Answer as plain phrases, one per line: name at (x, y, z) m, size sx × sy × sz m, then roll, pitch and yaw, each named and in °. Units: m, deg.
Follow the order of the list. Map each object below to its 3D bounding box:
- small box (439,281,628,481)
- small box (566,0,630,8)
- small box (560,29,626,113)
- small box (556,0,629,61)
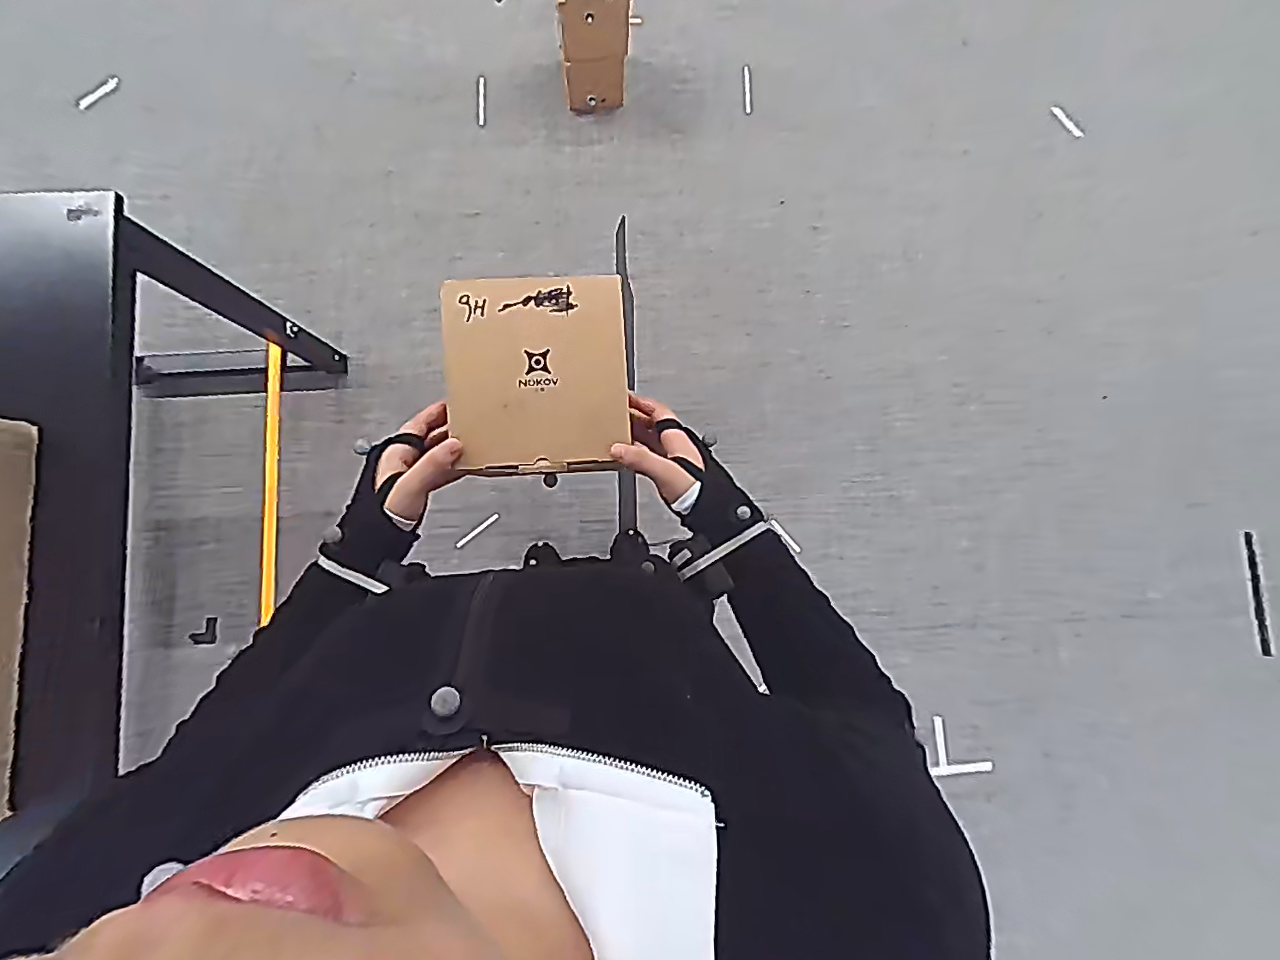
small box at (-0.100, -0.092, 0.568) m, size 0.168 × 0.176 × 0.179 m, roll -4°, pitch 90°, yaw -5°
small box at (-0.106, -1.223, 1.215) m, size 0.168 × 0.176 × 0.179 m, roll -10°, pitch 86°, yaw -3°
small box at (-0.135, -1.195, 1.543) m, size 0.168 × 0.176 × 0.179 m, roll -9°, pitch 87°, yaw -3°
small box at (-0.122, -1.212, 1.379) m, size 0.179 × 0.176 × 0.168 m, roll -6°, pitch 86°, yaw -3°
